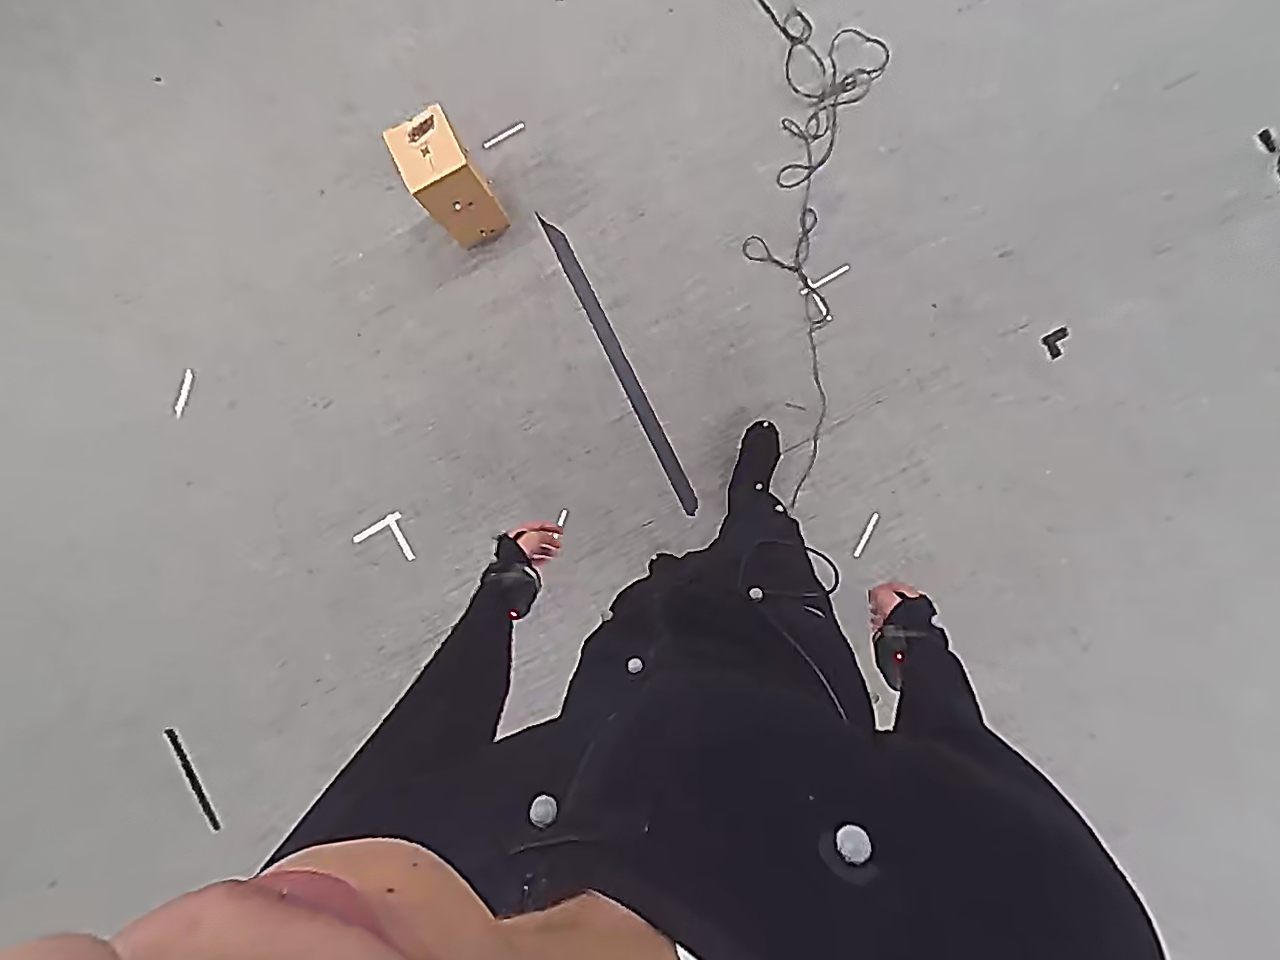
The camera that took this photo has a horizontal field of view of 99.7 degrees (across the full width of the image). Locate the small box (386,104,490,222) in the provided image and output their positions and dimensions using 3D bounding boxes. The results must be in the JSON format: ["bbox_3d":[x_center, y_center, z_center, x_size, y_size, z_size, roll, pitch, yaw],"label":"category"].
[{"bbox_3d":[-0.526,-0.827,1.427,0.168,0.176,0.179,-26,88,4],"label":"small box"}]
